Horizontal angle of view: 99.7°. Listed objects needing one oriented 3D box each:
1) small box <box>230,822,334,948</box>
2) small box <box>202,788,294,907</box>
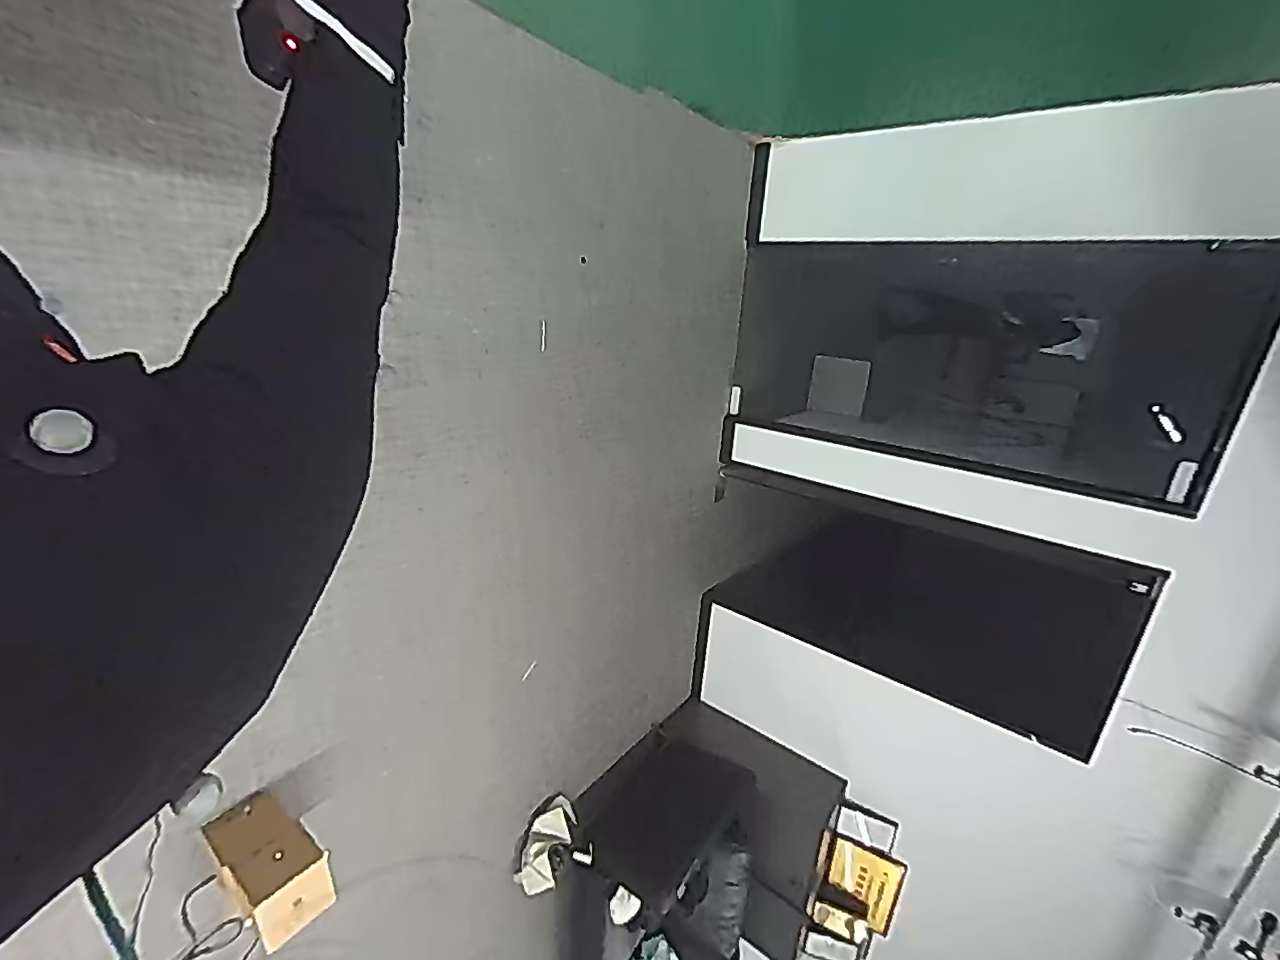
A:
[{"bbox_3d":[-0.932,1.038,1.408,0.168,0.176,0.179,-23,122,-49],"label":"small box"},{"bbox_3d":[-1.069,1.004,1.492,0.168,0.176,0.179,-23,122,-49],"label":"small box"}]
